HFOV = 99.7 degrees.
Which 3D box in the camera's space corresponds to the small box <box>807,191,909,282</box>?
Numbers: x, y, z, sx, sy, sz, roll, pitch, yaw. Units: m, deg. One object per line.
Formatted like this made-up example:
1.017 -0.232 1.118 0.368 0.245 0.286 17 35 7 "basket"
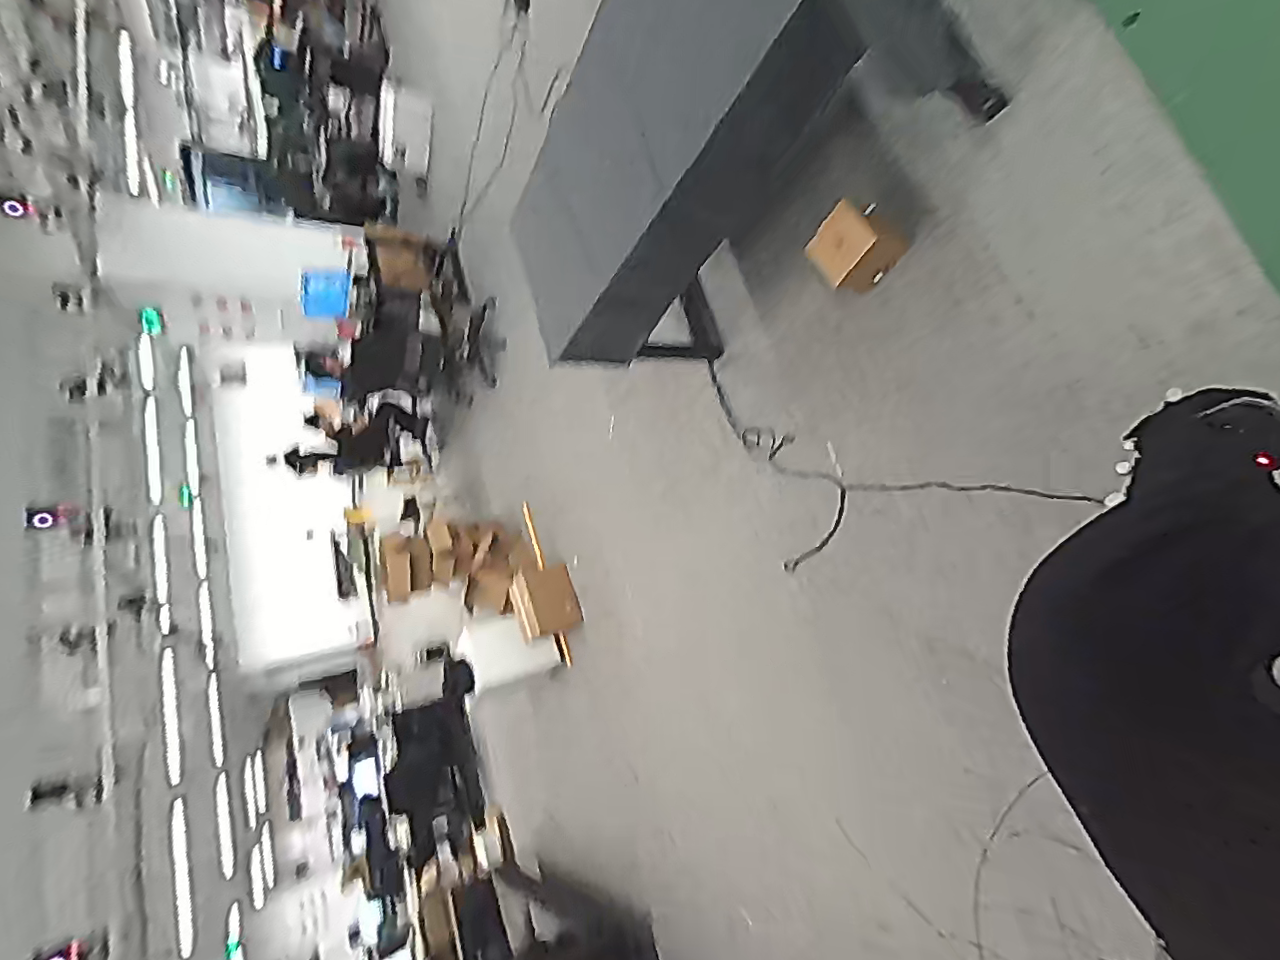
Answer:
0.626 -0.690 1.555 0.168 0.176 0.179 -52 54 48 "small box"
